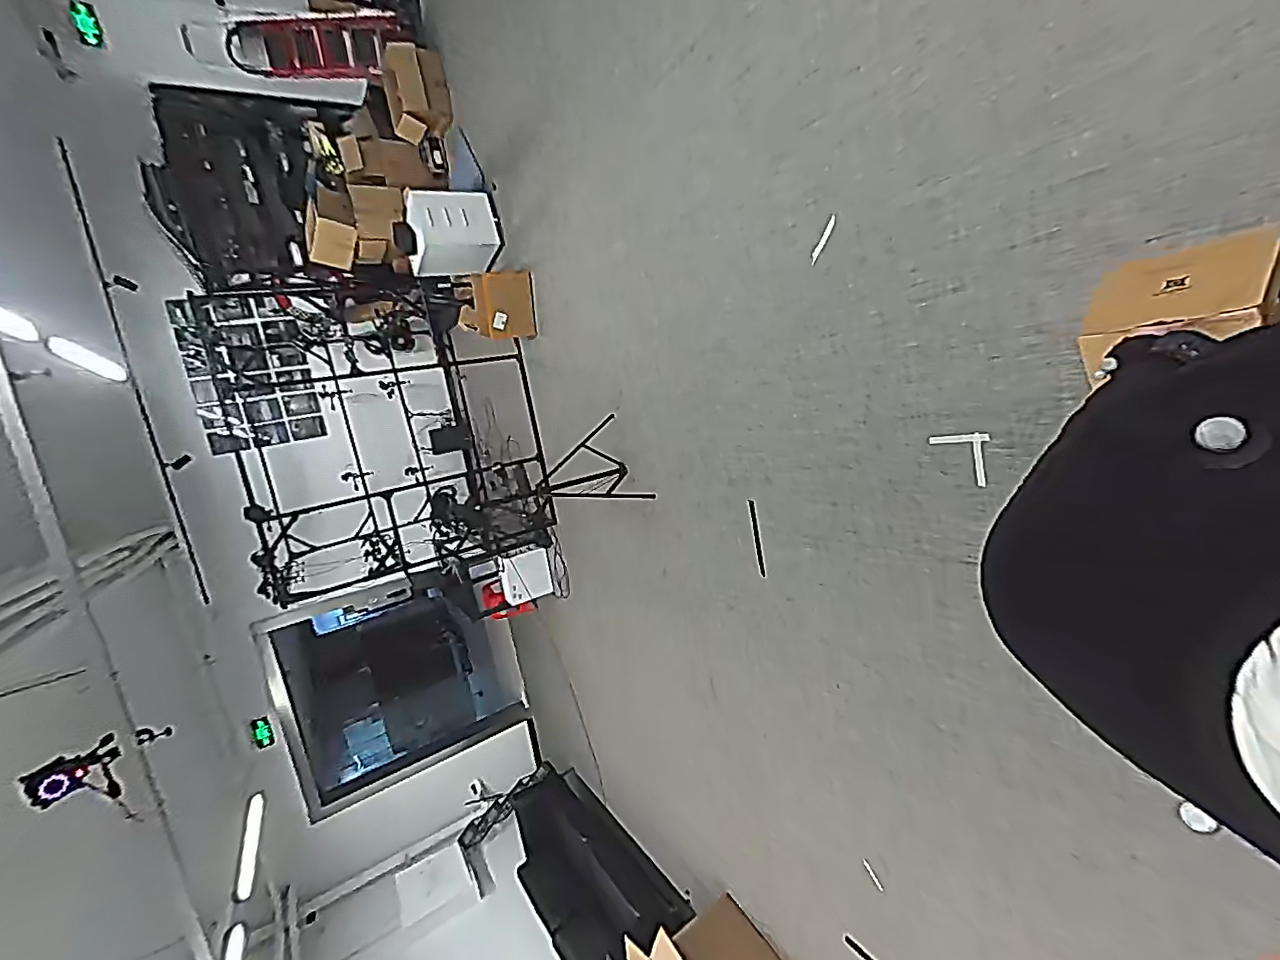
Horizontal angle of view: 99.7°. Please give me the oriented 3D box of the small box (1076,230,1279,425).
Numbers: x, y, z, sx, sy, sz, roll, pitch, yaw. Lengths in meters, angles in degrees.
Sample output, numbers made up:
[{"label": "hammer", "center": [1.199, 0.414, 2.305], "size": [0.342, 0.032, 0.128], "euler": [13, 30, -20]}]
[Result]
[{"label": "small box", "center": [0.721, -0.184, 0.714], "size": [0.176, 0.179, 0.168], "euler": [53, 155, -23]}]
